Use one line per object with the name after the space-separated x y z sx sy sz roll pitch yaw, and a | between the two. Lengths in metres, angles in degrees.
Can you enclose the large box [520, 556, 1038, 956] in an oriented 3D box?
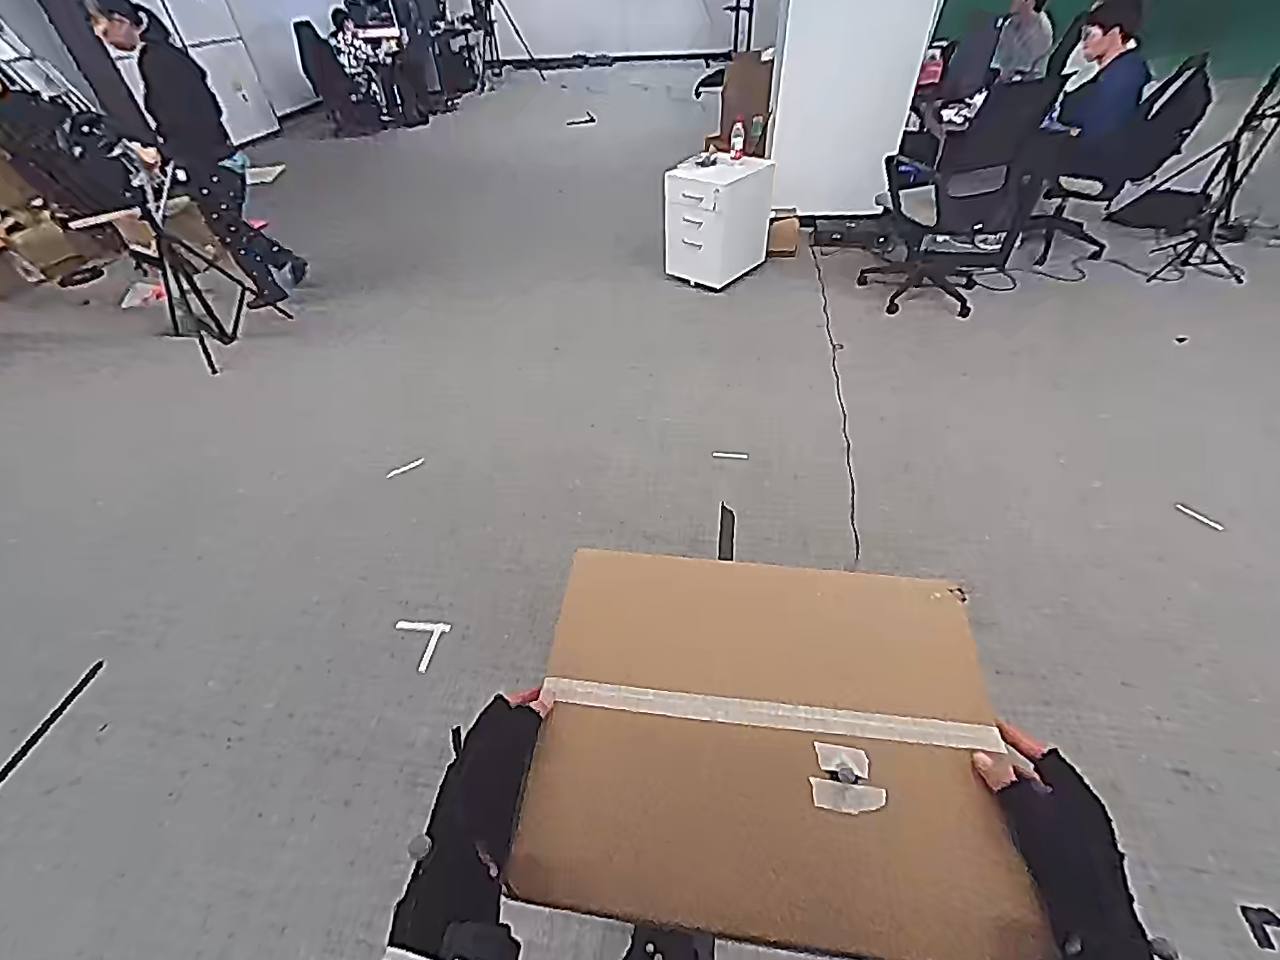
0.119 0.311 0.622 0.408 0.320 0.320 4 52 7 | large box
